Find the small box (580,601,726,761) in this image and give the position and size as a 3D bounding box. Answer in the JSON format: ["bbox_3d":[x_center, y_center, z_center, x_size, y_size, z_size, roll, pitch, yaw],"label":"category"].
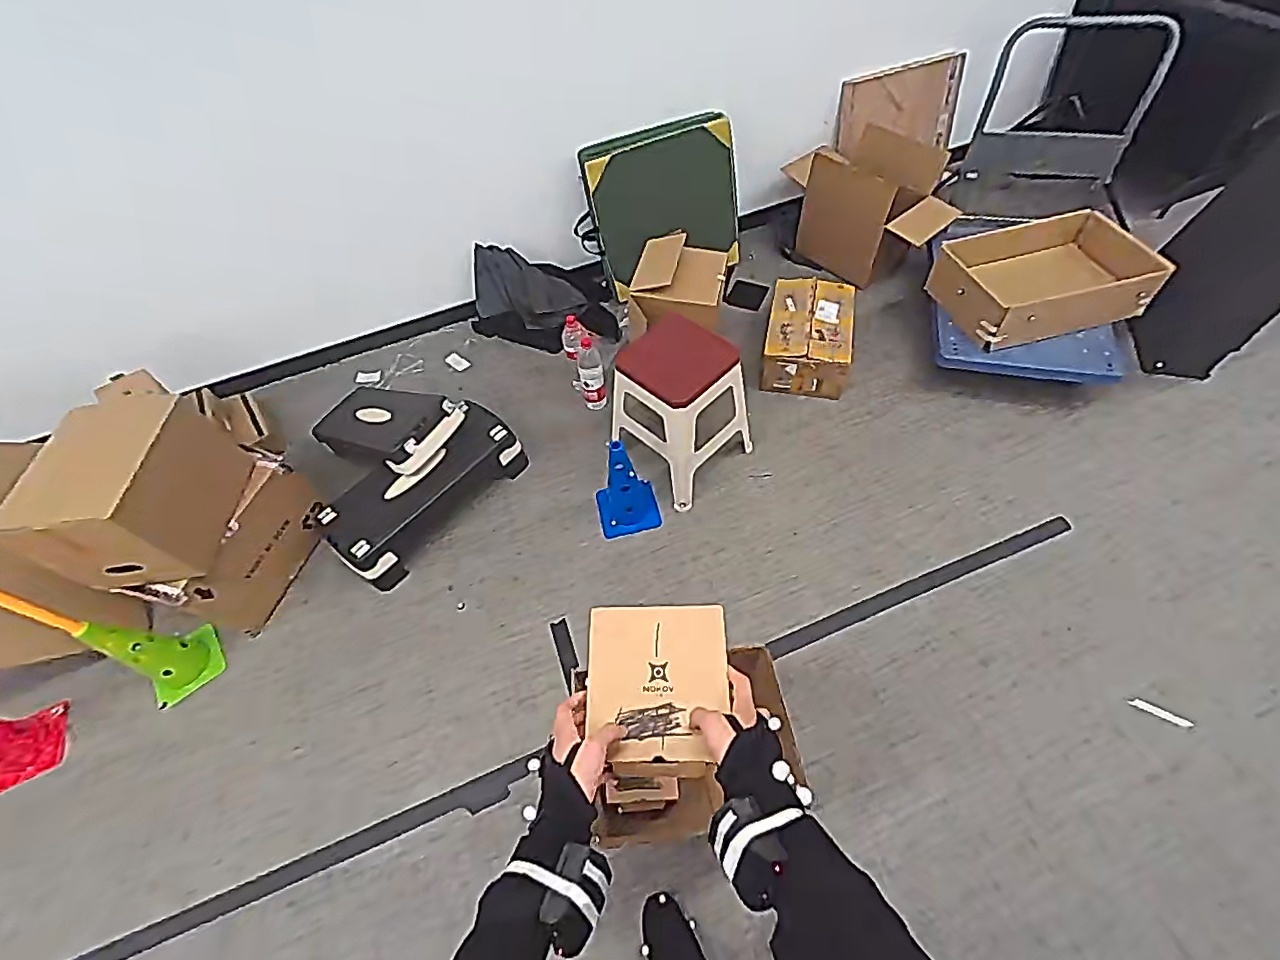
[{"bbox_3d":[0.022,0.264,0.700,0.168,0.176,0.179,-2,62,4],"label":"small box"}]
